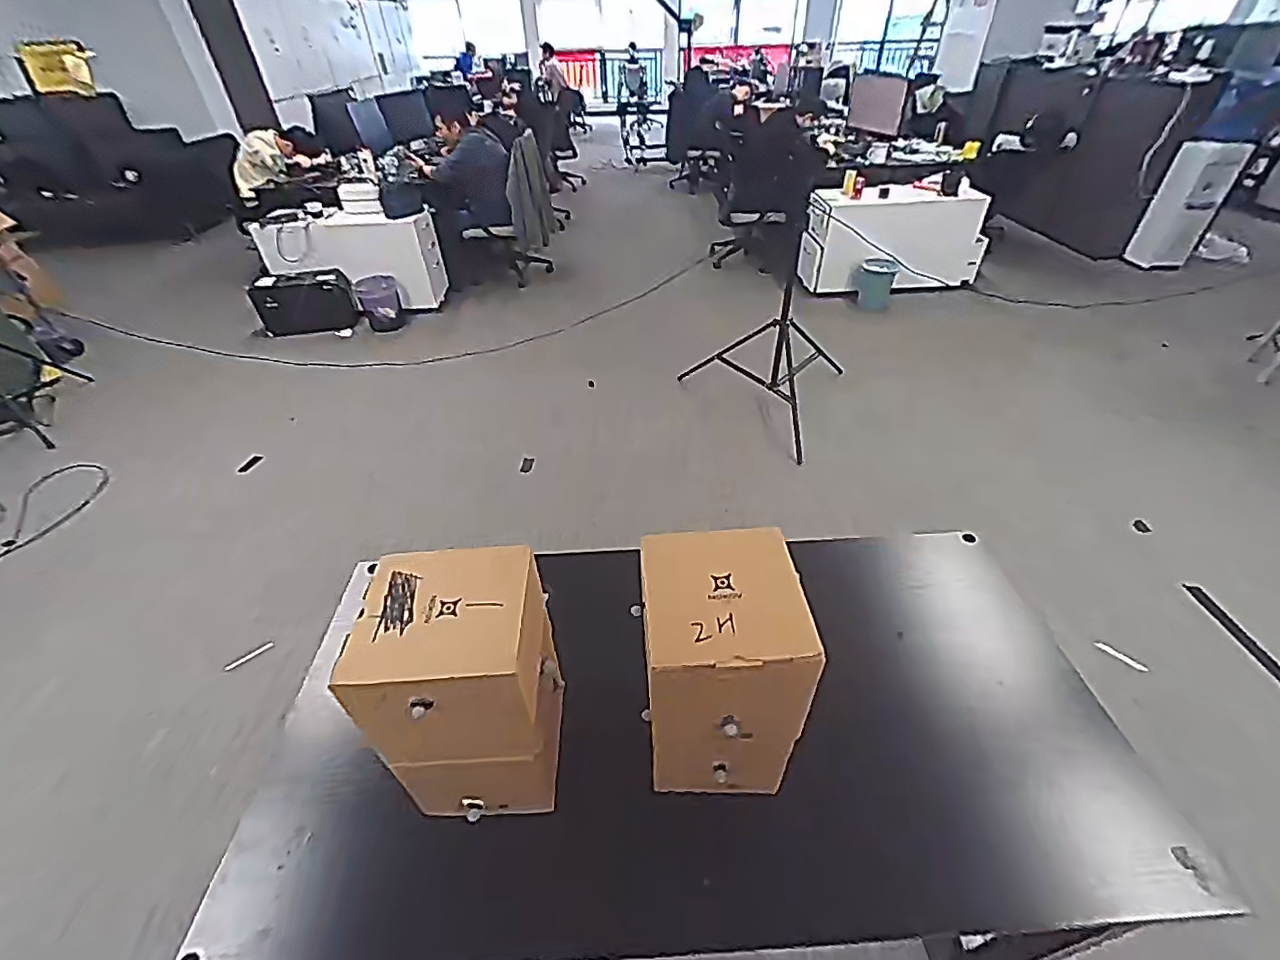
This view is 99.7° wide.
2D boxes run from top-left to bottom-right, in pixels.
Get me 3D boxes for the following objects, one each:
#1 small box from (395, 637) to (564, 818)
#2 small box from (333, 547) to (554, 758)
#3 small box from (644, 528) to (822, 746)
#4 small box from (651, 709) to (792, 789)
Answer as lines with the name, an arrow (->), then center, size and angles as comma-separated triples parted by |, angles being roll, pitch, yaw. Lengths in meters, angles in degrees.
small box -> -0.196, 0.322, 0.722 | 0.168, 0.176, 0.179 | -4, 41, 0
small box -> -0.202, 0.197, 0.615 | 0.179, 0.176, 0.168 | -3, 40, -1
small box -> 0.090, 0.178, 0.622 | 0.168, 0.176, 0.179 | -4, 40, -1
small box -> 0.101, 0.299, 0.735 | 0.168, 0.176, 0.179 | 0, 40, 2
